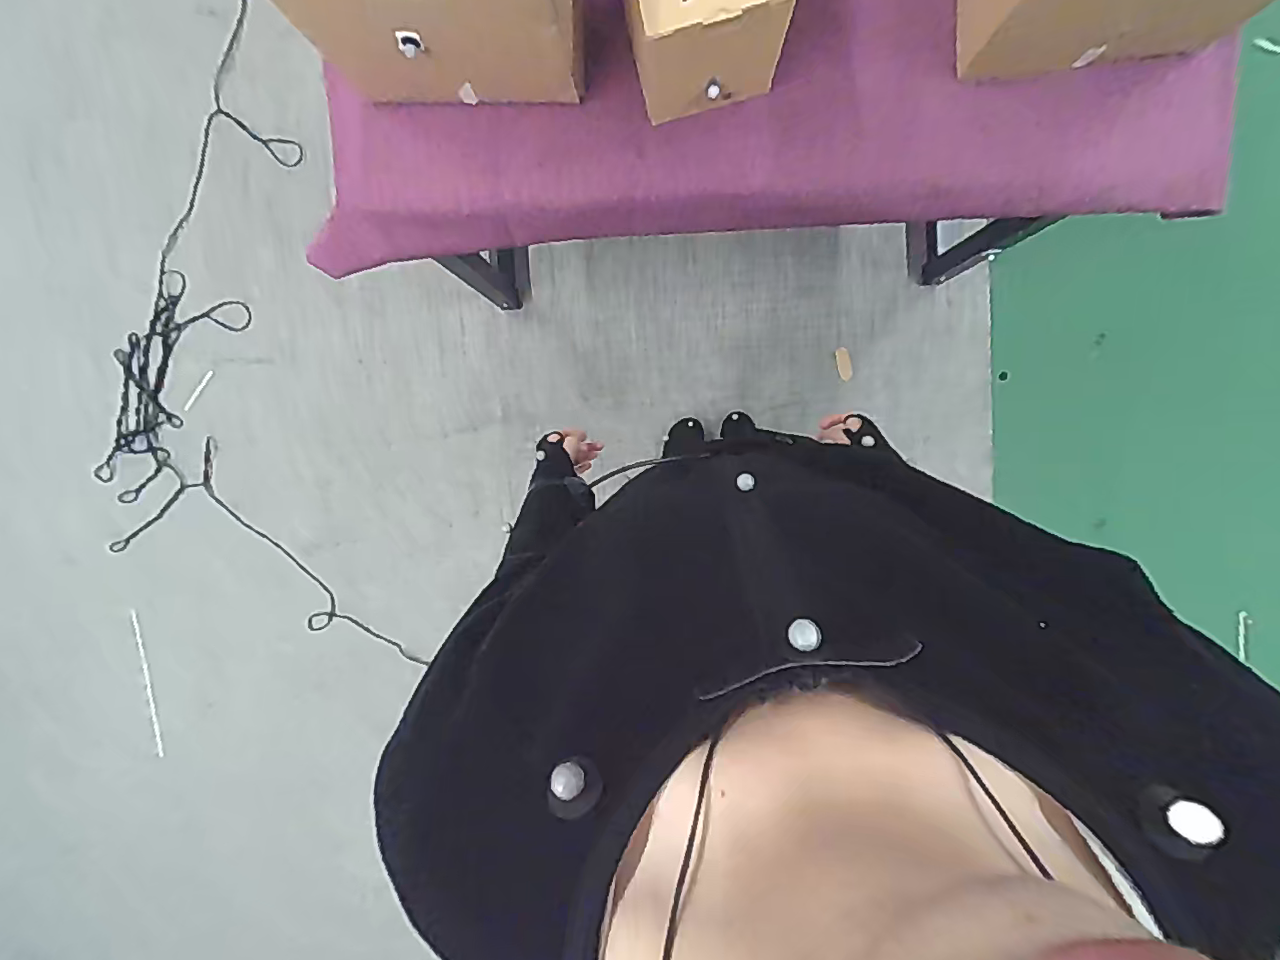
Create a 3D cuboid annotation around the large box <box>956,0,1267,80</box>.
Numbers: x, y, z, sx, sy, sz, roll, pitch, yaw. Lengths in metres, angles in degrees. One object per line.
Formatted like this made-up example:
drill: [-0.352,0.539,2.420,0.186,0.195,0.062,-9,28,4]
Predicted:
large box: [0.548,-0.725,0.548,0.320,0.320,0.408,-4,95,5]
